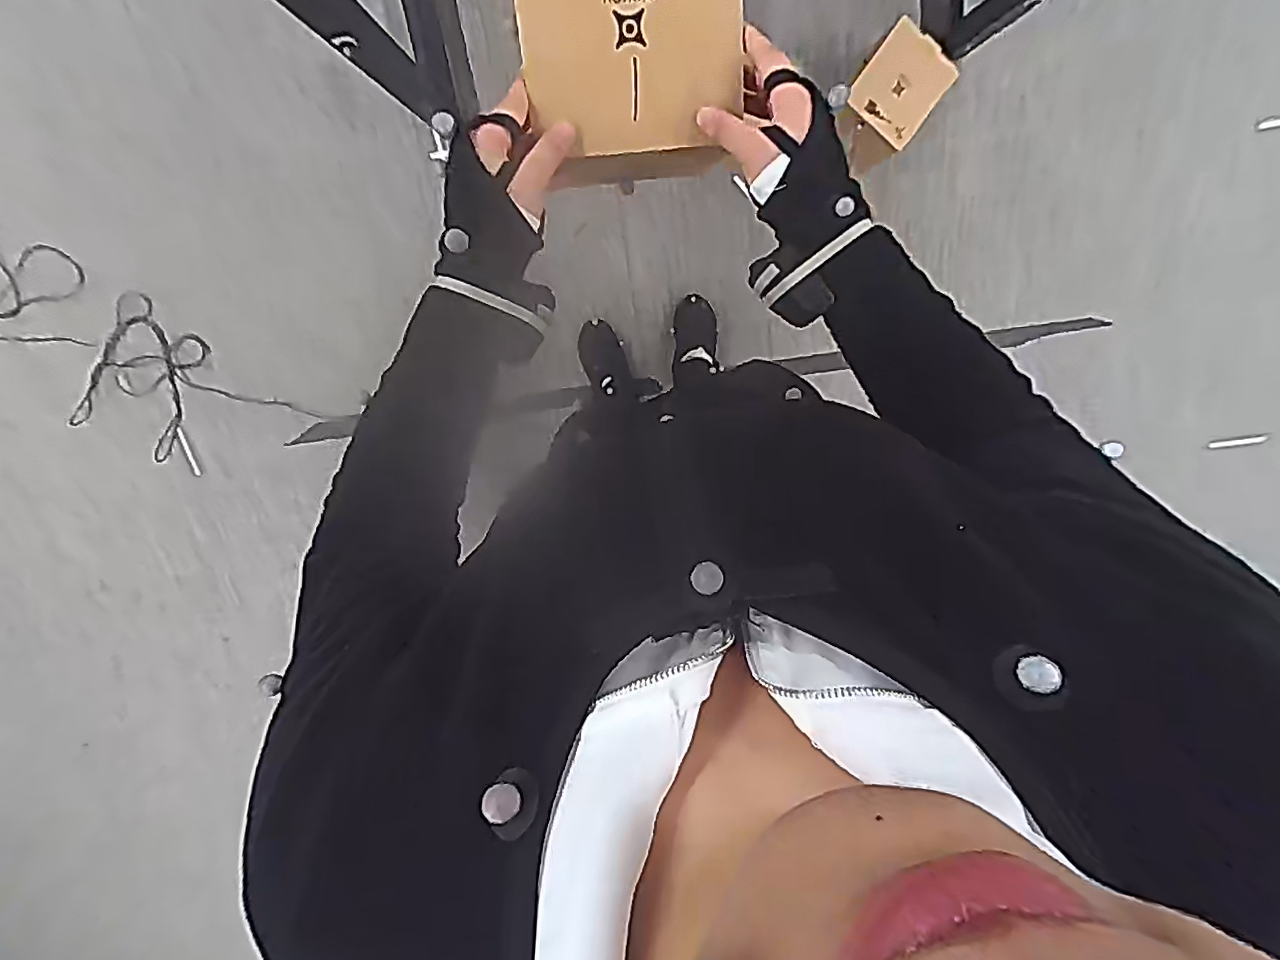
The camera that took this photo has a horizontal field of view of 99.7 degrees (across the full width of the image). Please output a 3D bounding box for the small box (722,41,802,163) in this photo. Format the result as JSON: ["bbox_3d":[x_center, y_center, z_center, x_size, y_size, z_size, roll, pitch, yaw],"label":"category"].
[{"bbox_3d":[0.220,-0.807,1.169,0.179,0.176,0.168,12,108,-5],"label":"small box"}]

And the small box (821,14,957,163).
[{"bbox_3d":[0.523,-0.827,1.165,0.168,0.176,0.179,34,106,-12],"label":"small box"}]

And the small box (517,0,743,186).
[{"bbox_3d":[-0.013,-0.367,0.464,0.168,0.176,0.179,-6,113,-1],"label":"small box"}]
